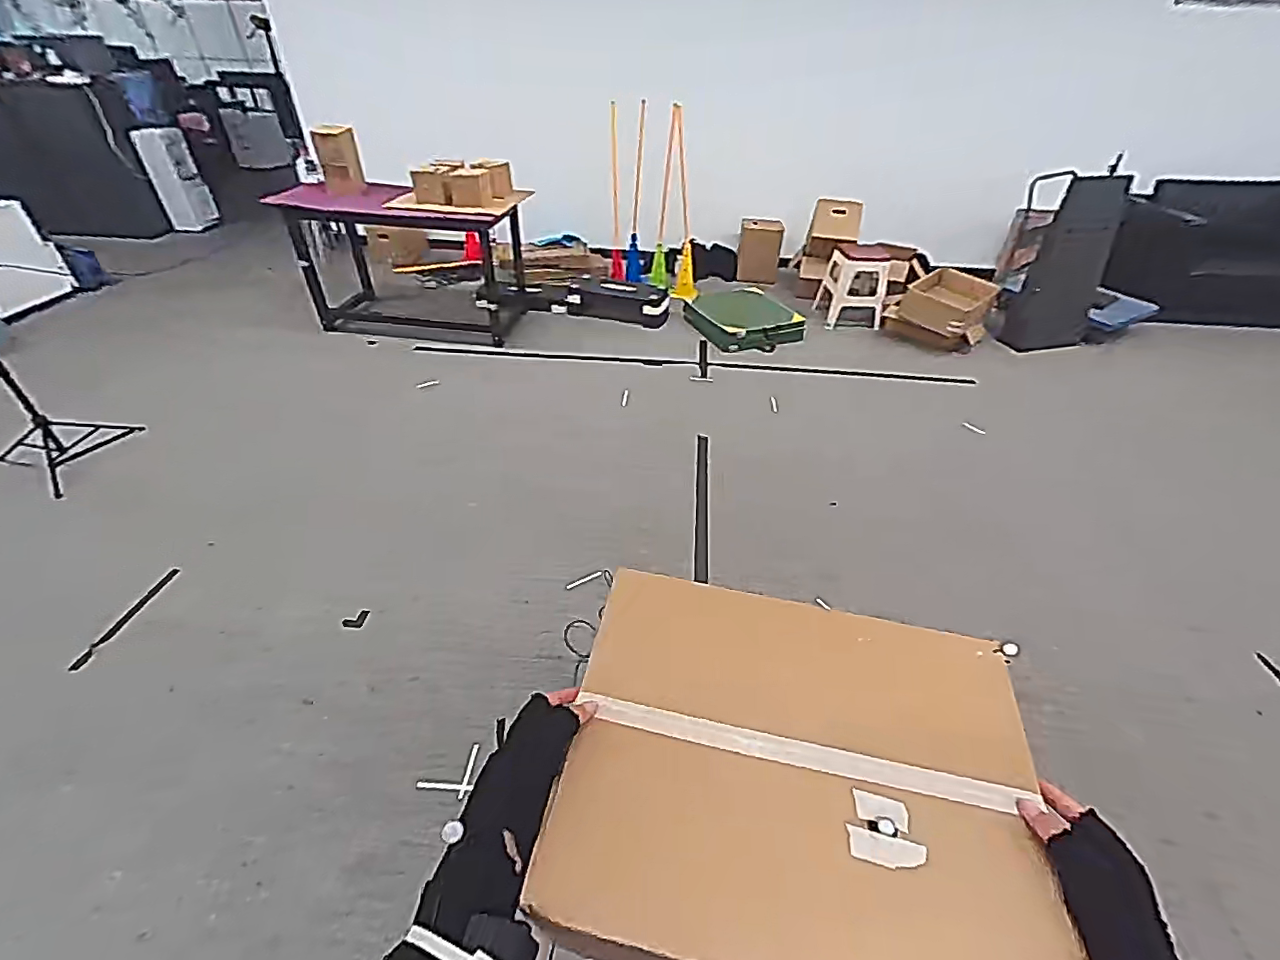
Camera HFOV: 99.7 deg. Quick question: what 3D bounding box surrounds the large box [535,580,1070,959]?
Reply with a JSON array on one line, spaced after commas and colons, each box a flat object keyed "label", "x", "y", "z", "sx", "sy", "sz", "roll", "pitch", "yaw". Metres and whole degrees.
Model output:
[{"label": "large box", "x": 0.133, "y": 0.354, "z": 0.593, "sx": 0.408, "sy": 0.320, "sz": 0.320, "roll": 10, "pitch": 47, "yaw": 6}]
